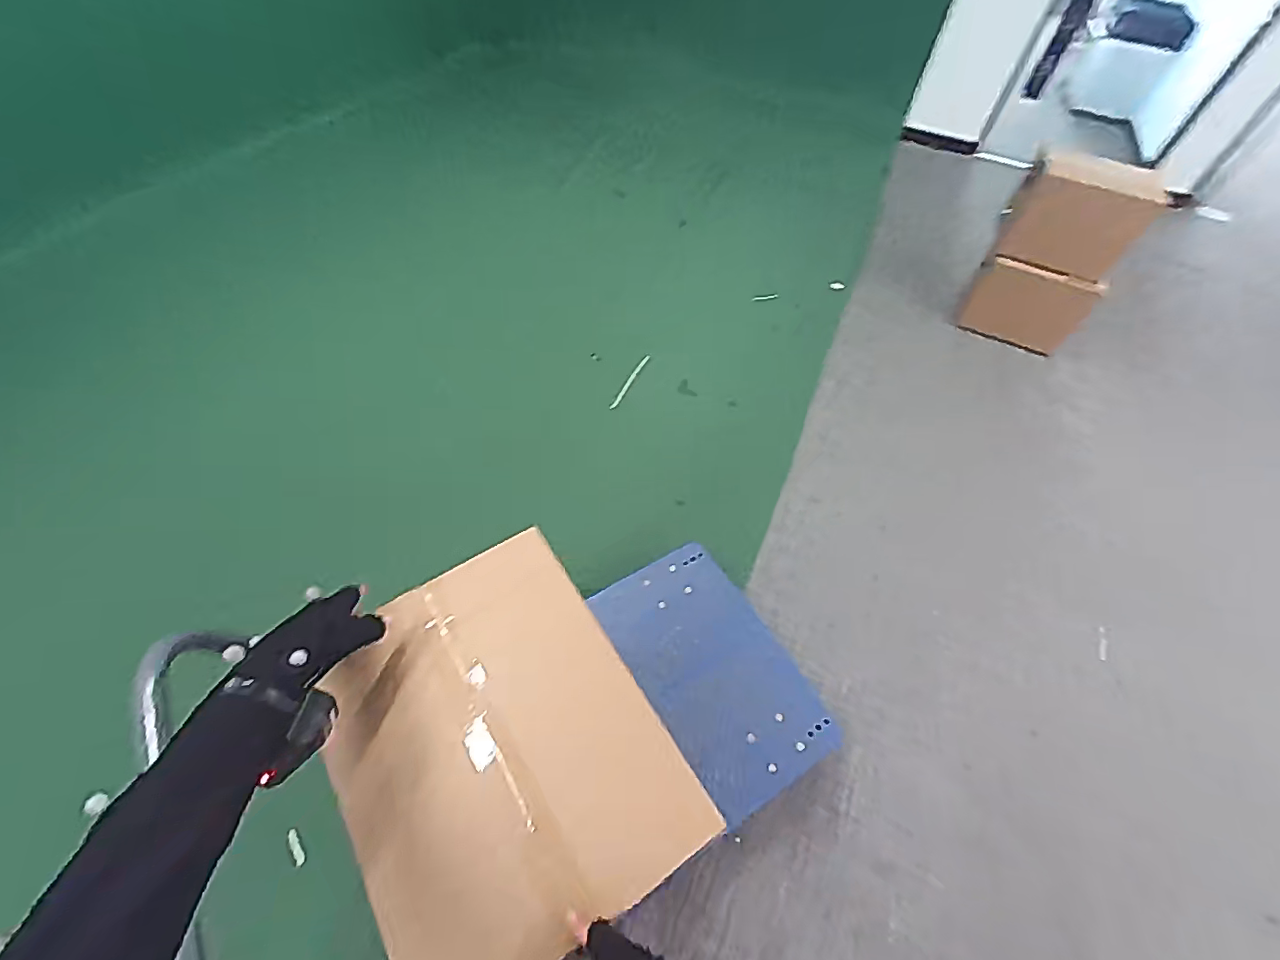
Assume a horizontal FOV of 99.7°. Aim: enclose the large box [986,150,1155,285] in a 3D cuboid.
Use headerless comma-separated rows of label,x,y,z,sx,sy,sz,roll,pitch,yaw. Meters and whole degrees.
large box,1.640,-1.021,2.104,0.408,0.320,0.320,23,52,10
